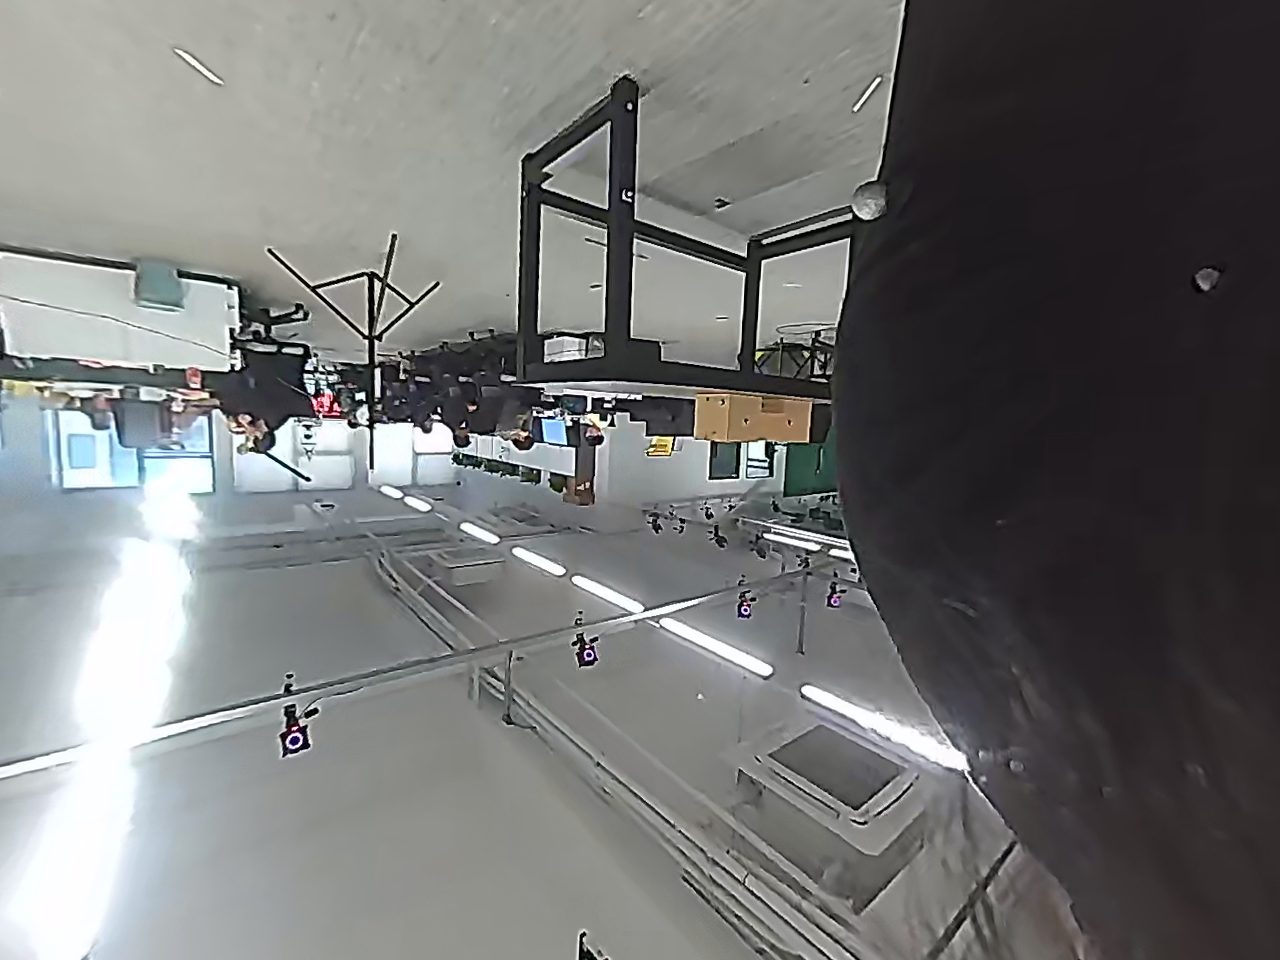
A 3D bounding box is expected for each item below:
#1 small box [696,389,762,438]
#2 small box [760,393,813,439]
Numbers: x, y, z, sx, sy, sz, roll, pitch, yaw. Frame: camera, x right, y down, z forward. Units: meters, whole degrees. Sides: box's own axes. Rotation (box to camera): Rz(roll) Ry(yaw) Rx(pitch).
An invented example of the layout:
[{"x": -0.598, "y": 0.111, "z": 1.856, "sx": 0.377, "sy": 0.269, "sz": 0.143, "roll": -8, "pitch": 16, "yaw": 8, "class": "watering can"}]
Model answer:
[{"x": 0.322, "y": -0.240, "z": 1.954, "sx": 0.179, "sy": 0.176, "sz": 0.168, "roll": -5, "pitch": -170, "yaw": -39, "class": "small box"}, {"x": 0.559, "y": -0.253, "z": 2.130, "sx": 0.179, "sy": 0.176, "sz": 0.168, "roll": -3, "pitch": -170, "yaw": -36, "class": "small box"}]
